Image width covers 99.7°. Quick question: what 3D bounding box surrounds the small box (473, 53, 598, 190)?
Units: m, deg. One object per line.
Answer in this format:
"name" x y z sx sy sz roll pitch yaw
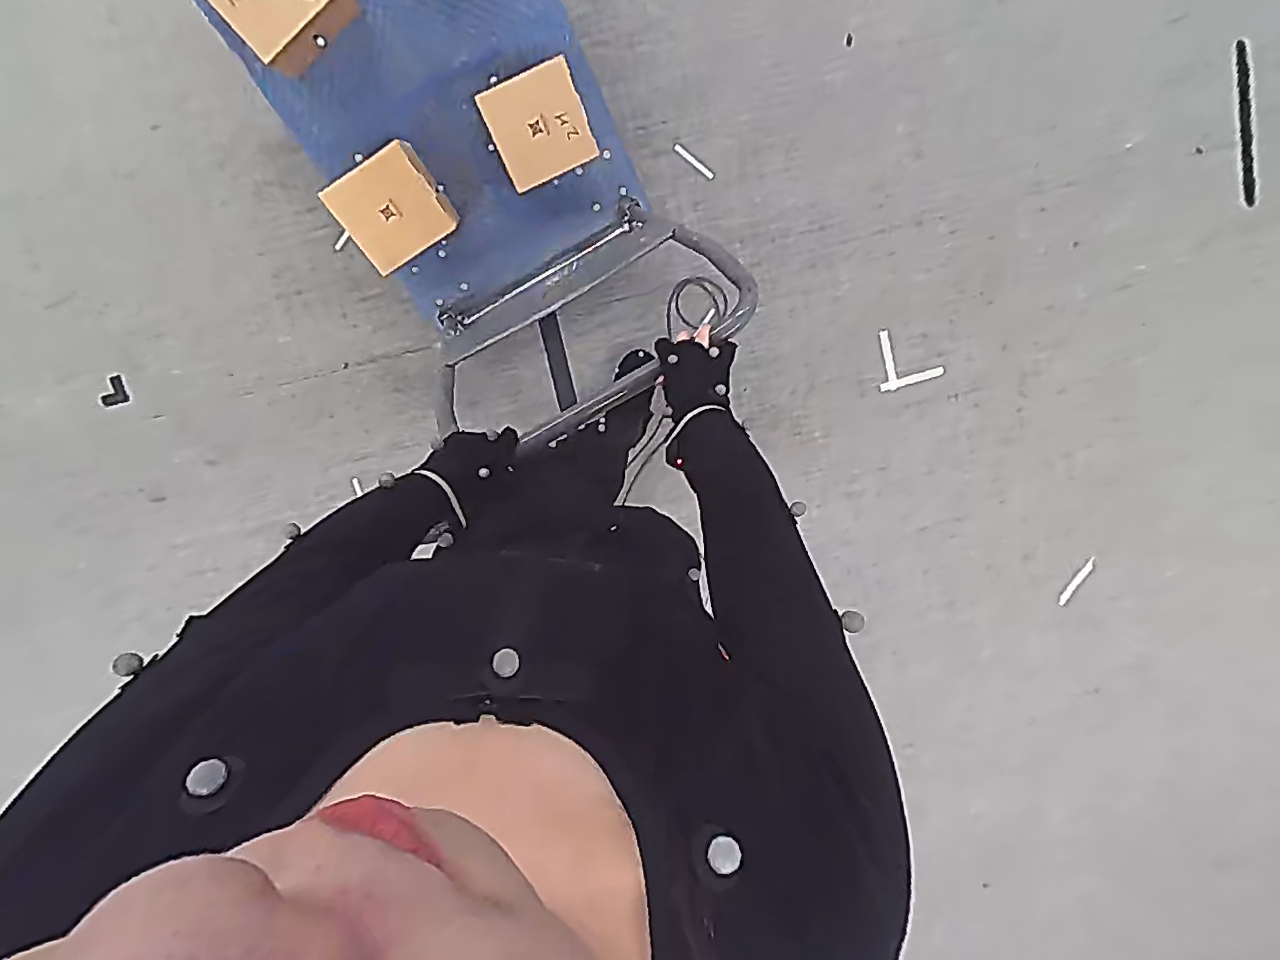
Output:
"small box" -0.202 -0.684 1.050 0.179 0.176 0.168 -26 123 0

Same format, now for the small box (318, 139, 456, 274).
"small box" -0.481 -0.533 1.062 0.179 0.176 0.168 -33 122 3
